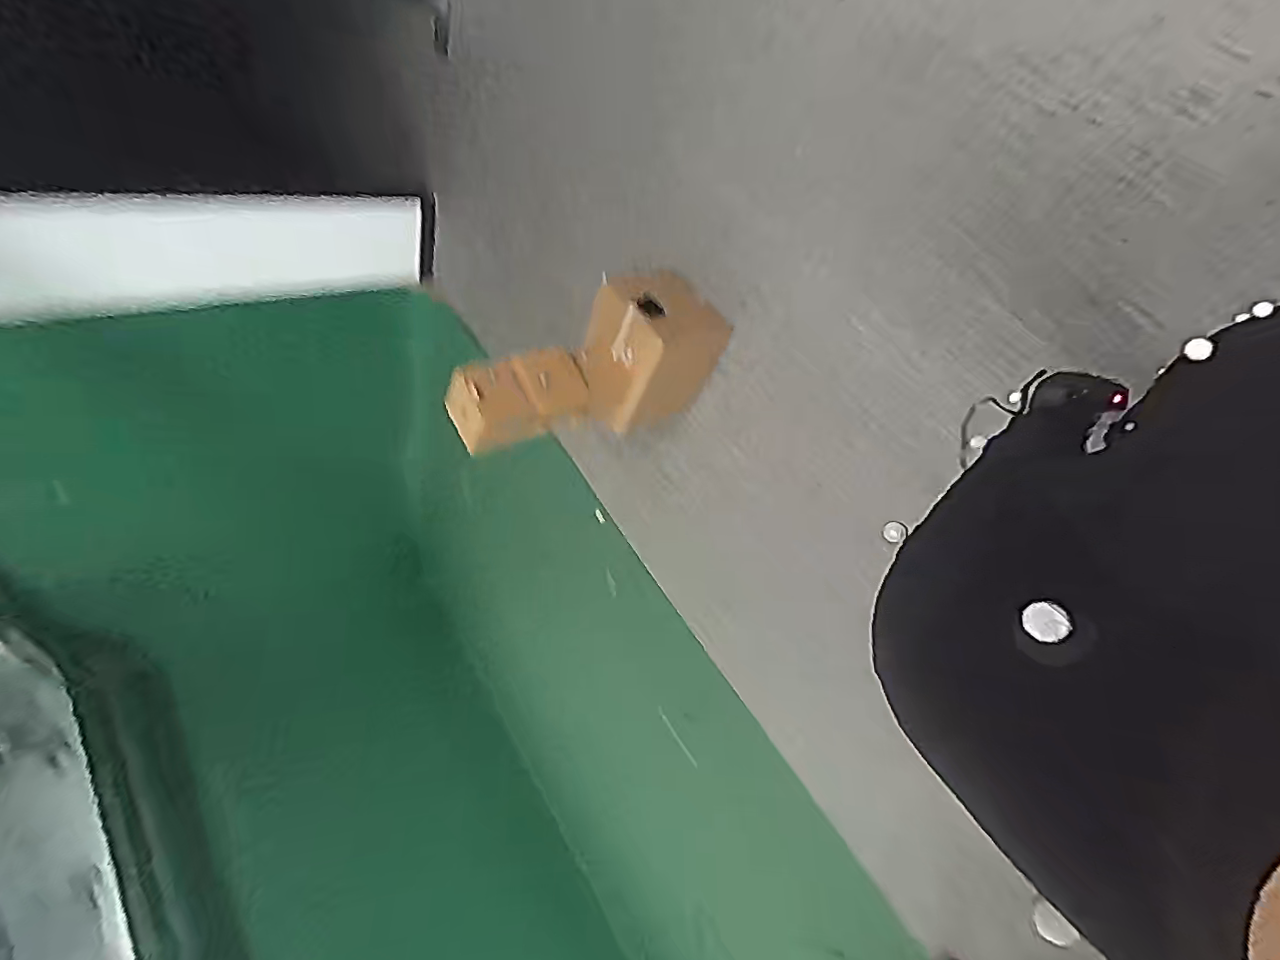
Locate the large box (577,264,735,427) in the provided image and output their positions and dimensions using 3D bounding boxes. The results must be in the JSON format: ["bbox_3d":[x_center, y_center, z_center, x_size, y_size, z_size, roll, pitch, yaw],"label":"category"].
[{"bbox_3d":[0.037,-0.443,1.780,0.320,0.320,0.408,52,139,19],"label":"large box"}]

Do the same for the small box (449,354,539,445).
[{"bbox_3d":[-0.397,-0.223,1.480,0.168,0.176,0.179,60,143,11],"label":"small box"}]

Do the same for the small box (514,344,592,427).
[{"bbox_3d":[-0.271,-0.279,1.566,0.168,0.176,0.179,-39,76,52],"label":"small box"}]
